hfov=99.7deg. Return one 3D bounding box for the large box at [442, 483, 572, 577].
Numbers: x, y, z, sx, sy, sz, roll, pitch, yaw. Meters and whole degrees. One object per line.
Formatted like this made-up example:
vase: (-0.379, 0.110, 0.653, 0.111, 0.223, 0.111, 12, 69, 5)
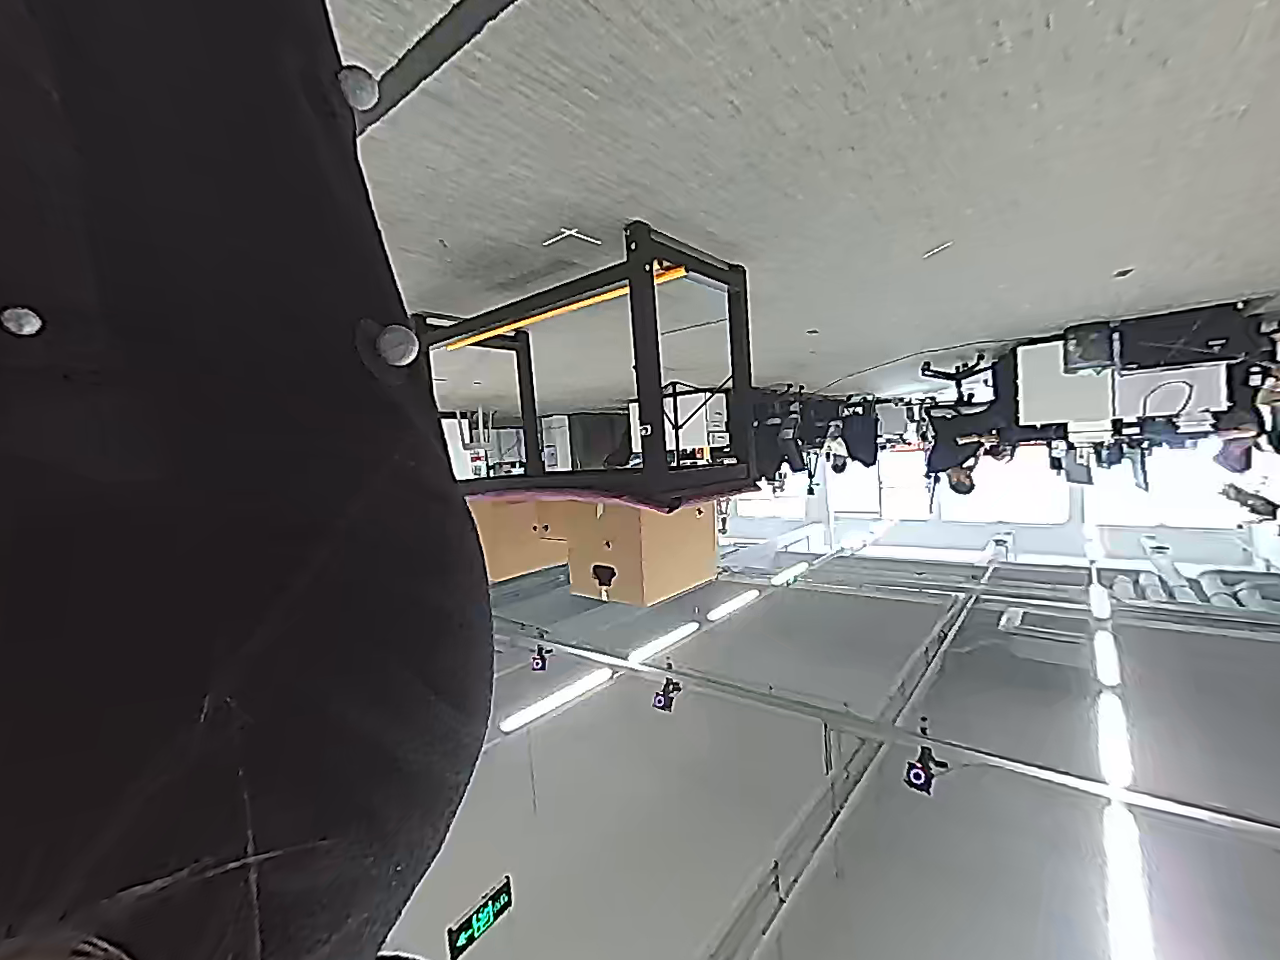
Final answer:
large box: (-0.540, 0.190, 2.216, 0.320, 0.320, 0.408, -1, -174, 39)
